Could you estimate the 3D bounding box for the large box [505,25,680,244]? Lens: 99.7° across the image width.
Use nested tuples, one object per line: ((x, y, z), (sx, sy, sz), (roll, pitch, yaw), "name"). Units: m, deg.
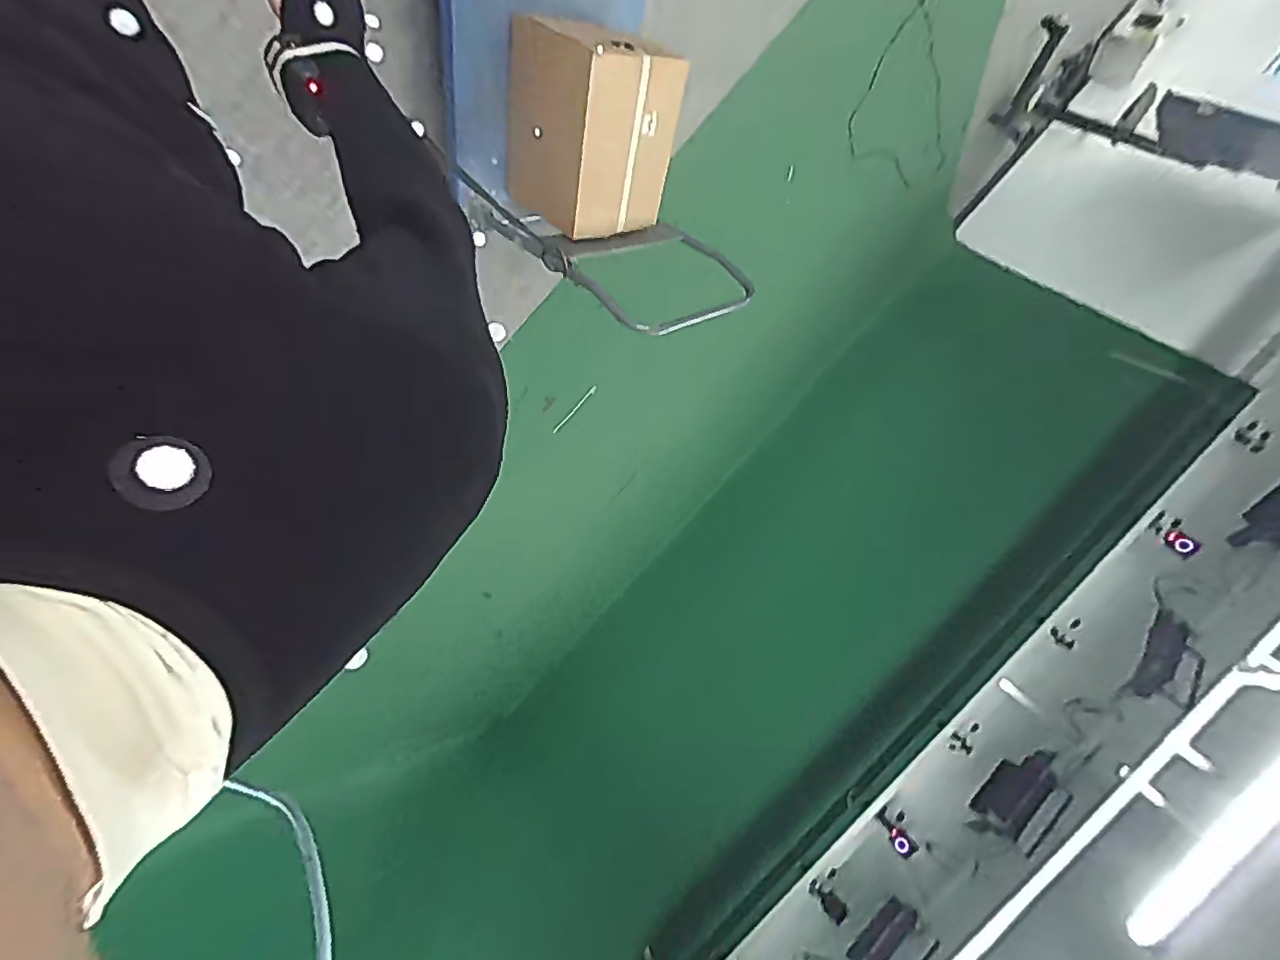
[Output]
((-0.144, -0.901, 1.428), (0.320, 0.320, 0.408), (-29, 148, -36), "large box")
